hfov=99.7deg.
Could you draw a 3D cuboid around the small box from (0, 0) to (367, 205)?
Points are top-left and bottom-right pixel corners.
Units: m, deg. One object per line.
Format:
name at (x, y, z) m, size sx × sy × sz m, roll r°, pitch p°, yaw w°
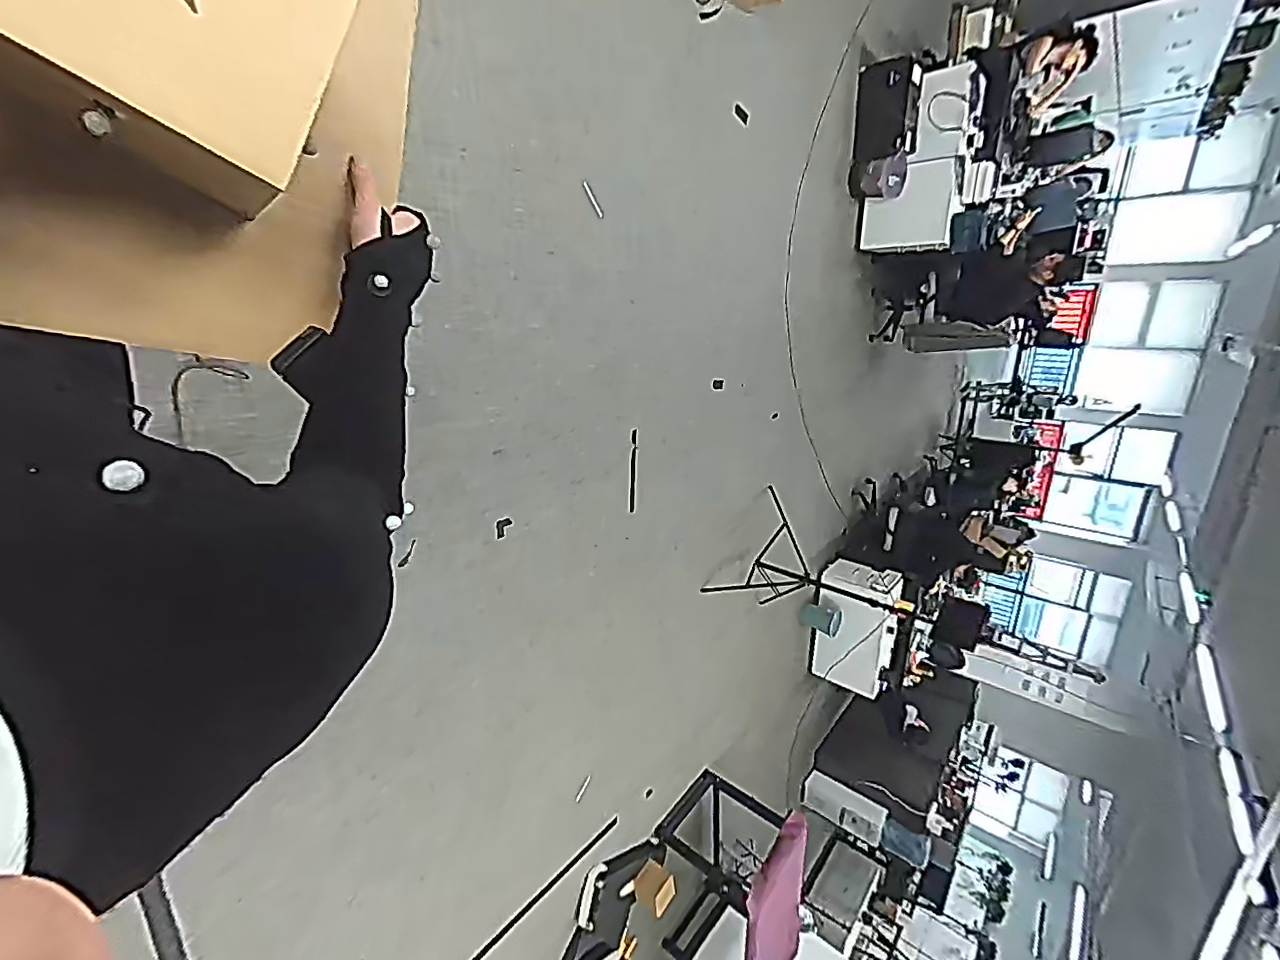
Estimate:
small box at (-0.335, -0.326, 0.392) m, size 0.179 × 0.176 × 0.168 m, roll 21°, pitch 90°, yaw -43°
